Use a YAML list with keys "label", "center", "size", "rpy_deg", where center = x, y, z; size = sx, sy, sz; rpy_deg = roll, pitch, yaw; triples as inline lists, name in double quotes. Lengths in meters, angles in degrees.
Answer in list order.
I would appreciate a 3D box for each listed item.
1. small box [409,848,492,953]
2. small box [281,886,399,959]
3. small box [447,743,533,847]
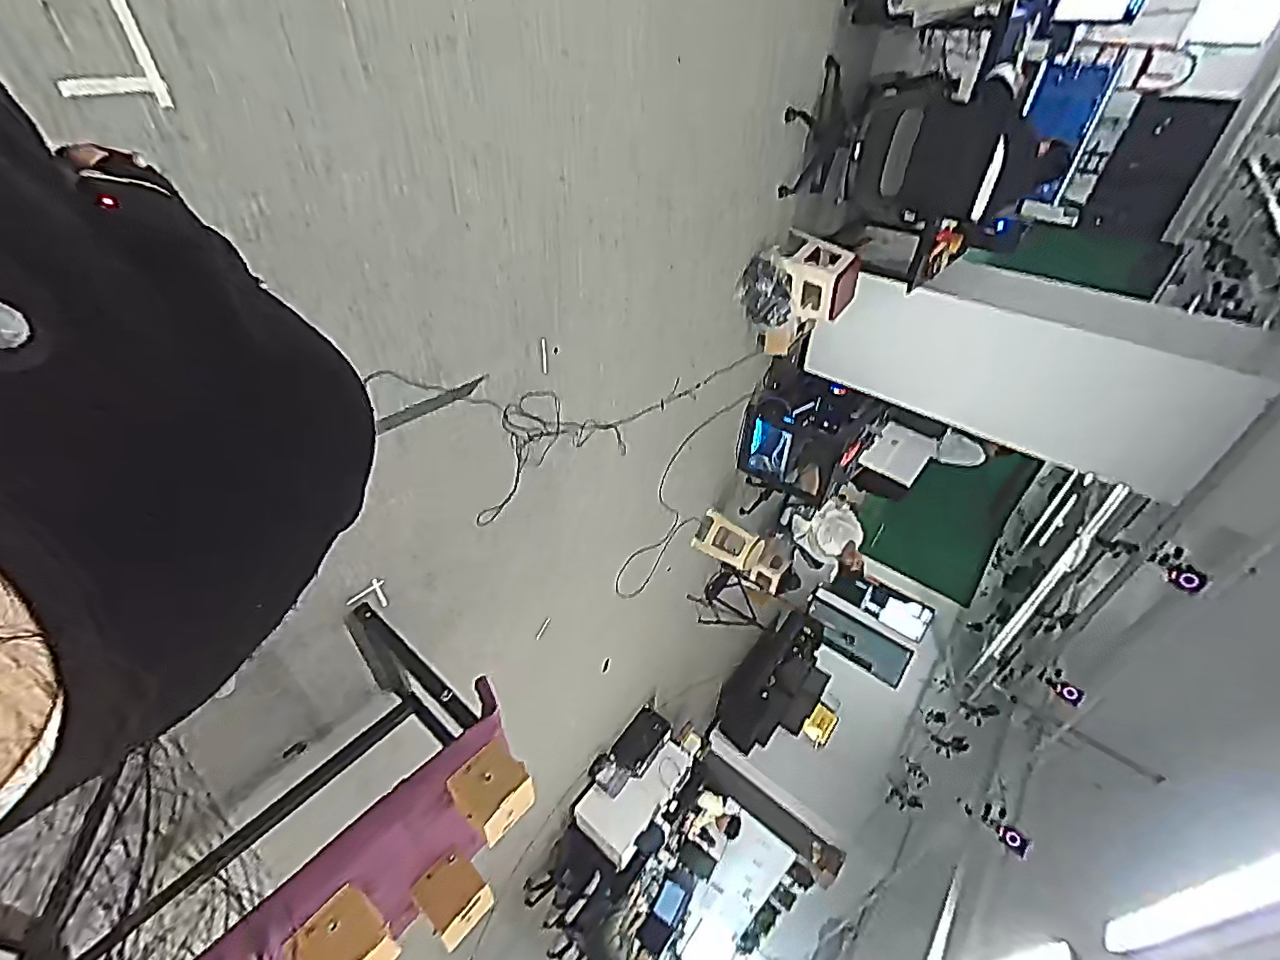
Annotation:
- label: "small box"
  center: [-0.579, 1.275, 1.653]
  size: [0.168, 0.176, 0.179]
  rpy_deg: [-34, 141, -40]
- label: "small box"
  center: [-0.718, 1.131, 1.303]
  size: [0.168, 0.176, 0.179]
  rpy_deg: [-37, 144, -37]
- label: "small box"
  center: [-0.430, 0.892, 1.549]
  size: [0.168, 0.176, 0.179]
  rpy_deg: [-35, 142, -39]
